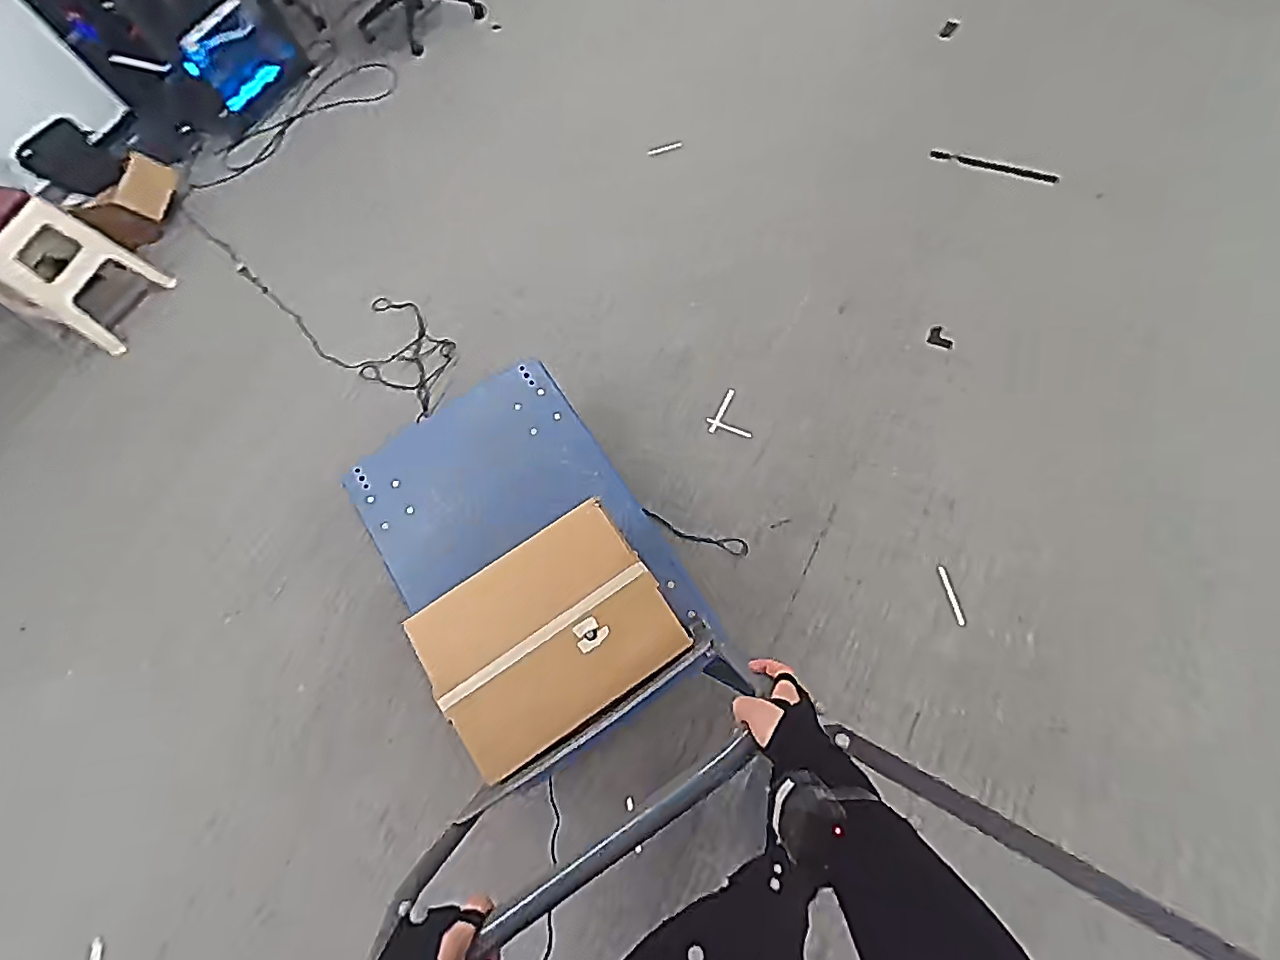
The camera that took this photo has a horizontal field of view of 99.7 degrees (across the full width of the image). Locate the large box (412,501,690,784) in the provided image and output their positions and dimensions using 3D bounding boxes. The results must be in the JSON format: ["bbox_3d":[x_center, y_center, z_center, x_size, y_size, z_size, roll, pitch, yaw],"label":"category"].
[{"bbox_3d":[-0.152,0.308,1.078,0.408,0.320,0.320,-34,76,-7],"label":"large box"}]
